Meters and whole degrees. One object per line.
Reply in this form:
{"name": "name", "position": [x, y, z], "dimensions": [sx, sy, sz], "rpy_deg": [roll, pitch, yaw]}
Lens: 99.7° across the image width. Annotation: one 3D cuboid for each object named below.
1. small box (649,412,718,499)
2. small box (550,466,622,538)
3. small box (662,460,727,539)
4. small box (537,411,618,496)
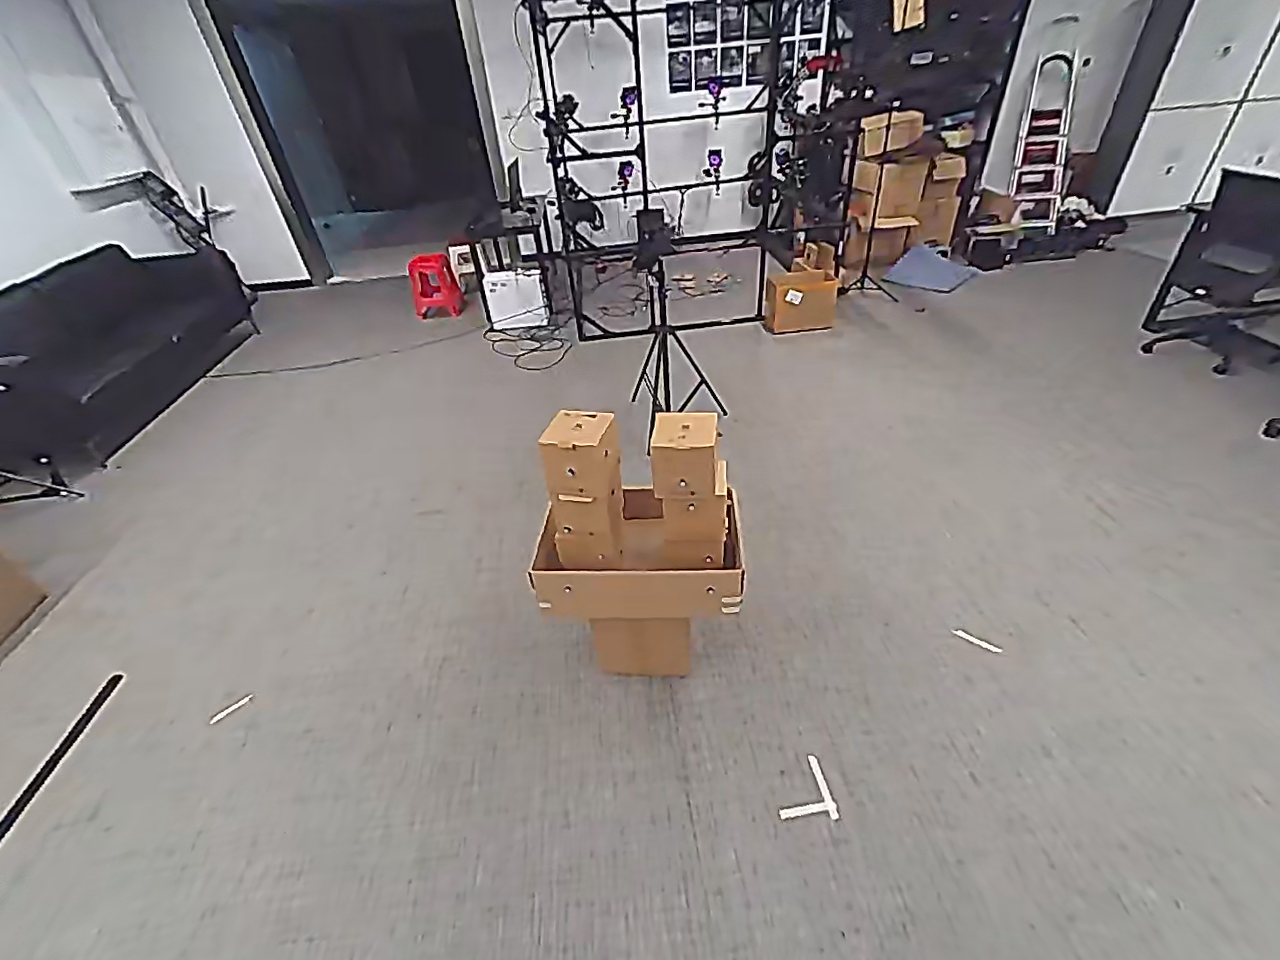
{"name": "small box", "position": [0.124, -0.069, 1.465], "dimensions": [0.168, 0.176, 0.179], "rpy_deg": [1, 37, 11]}
{"name": "small box", "position": [-0.152, 0.054, 1.610], "dimensions": [0.168, 0.176, 0.179], "rpy_deg": [3, 37, 11]}
{"name": "small box", "position": [0.161, 0.058, 1.566], "dimensions": [0.179, 0.176, 0.168], "rpy_deg": [-1, 36, 8]}
{"name": "small box", "position": [-0.164, -0.075, 1.507], "dimensions": [0.168, 0.176, 0.179], "rpy_deg": [6, 38, 14]}
